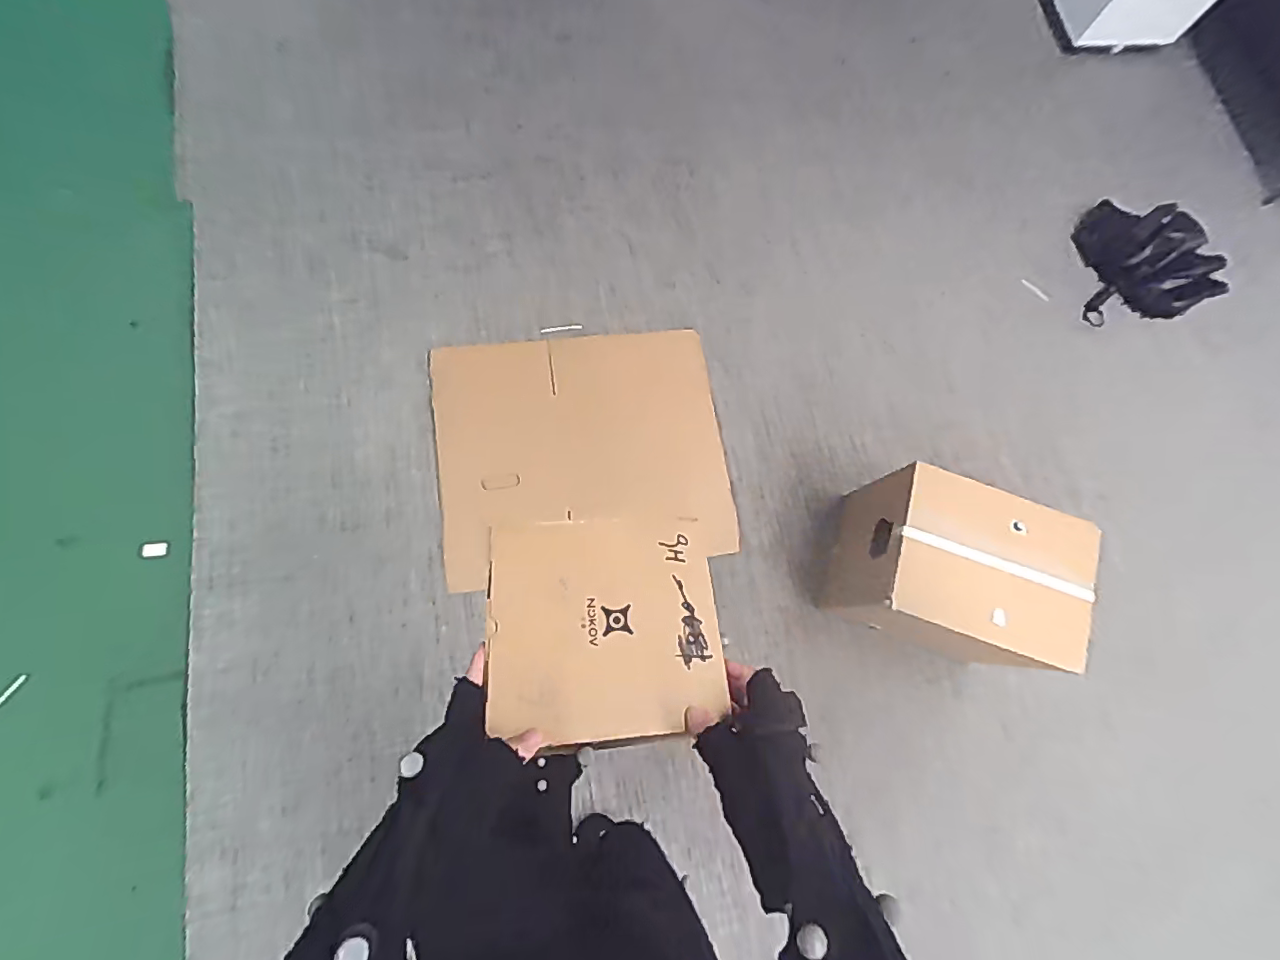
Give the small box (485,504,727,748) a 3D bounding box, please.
[{"bbox_3d":[-0.041,0.137,0.490,0.179,0.176,0.168,-4,61,-11],"label":"small box"}]
